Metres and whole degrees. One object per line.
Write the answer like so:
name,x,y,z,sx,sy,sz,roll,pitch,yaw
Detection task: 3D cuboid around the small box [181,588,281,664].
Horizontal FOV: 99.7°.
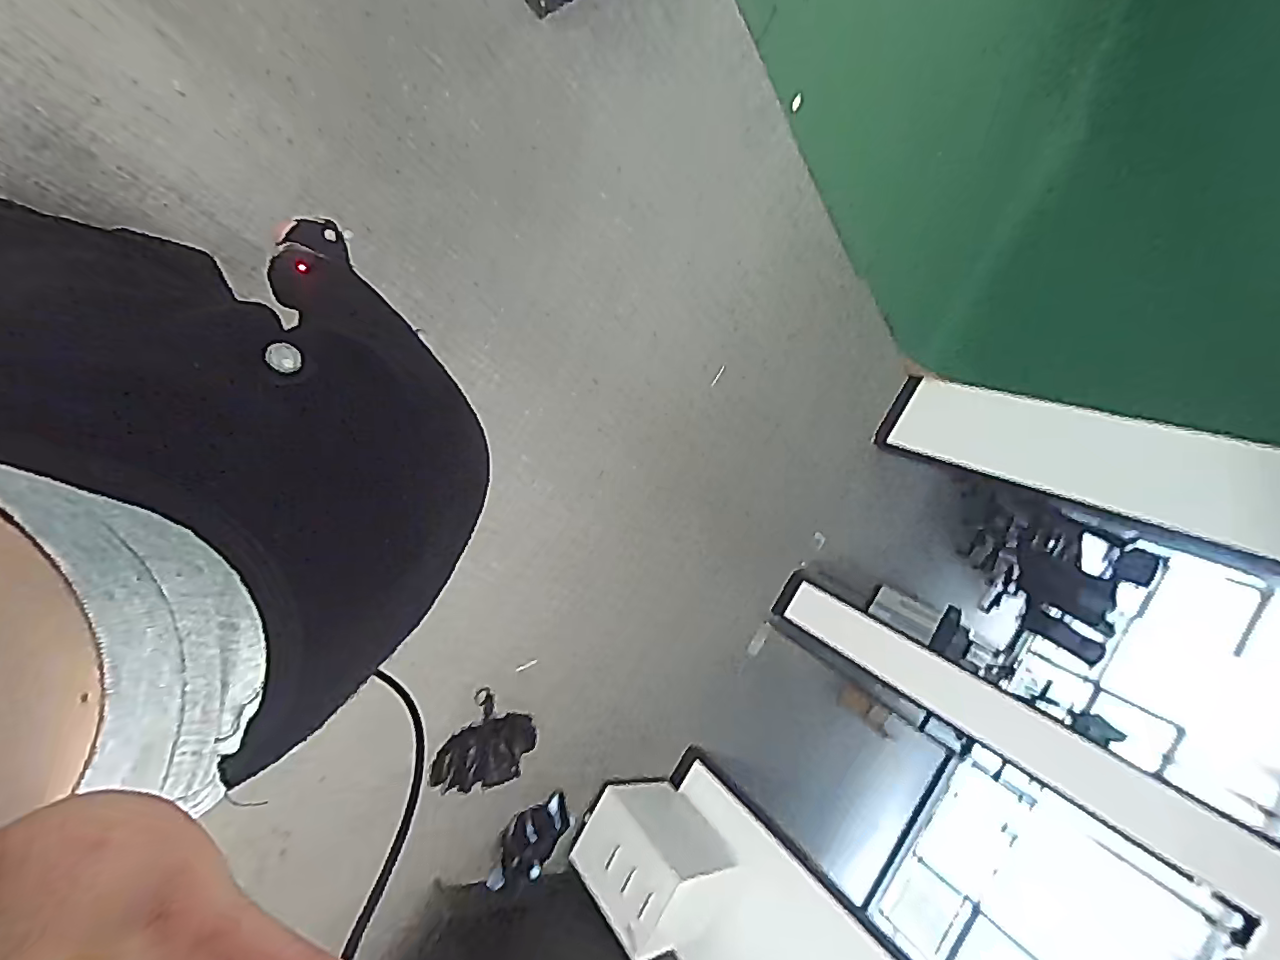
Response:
small box,-1.038,0.389,1.367,0.168,0.176,0.179,16,100,-43

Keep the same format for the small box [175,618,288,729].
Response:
small box,-0.941,0.440,1.245,0.168,0.176,0.179,17,97,-44
